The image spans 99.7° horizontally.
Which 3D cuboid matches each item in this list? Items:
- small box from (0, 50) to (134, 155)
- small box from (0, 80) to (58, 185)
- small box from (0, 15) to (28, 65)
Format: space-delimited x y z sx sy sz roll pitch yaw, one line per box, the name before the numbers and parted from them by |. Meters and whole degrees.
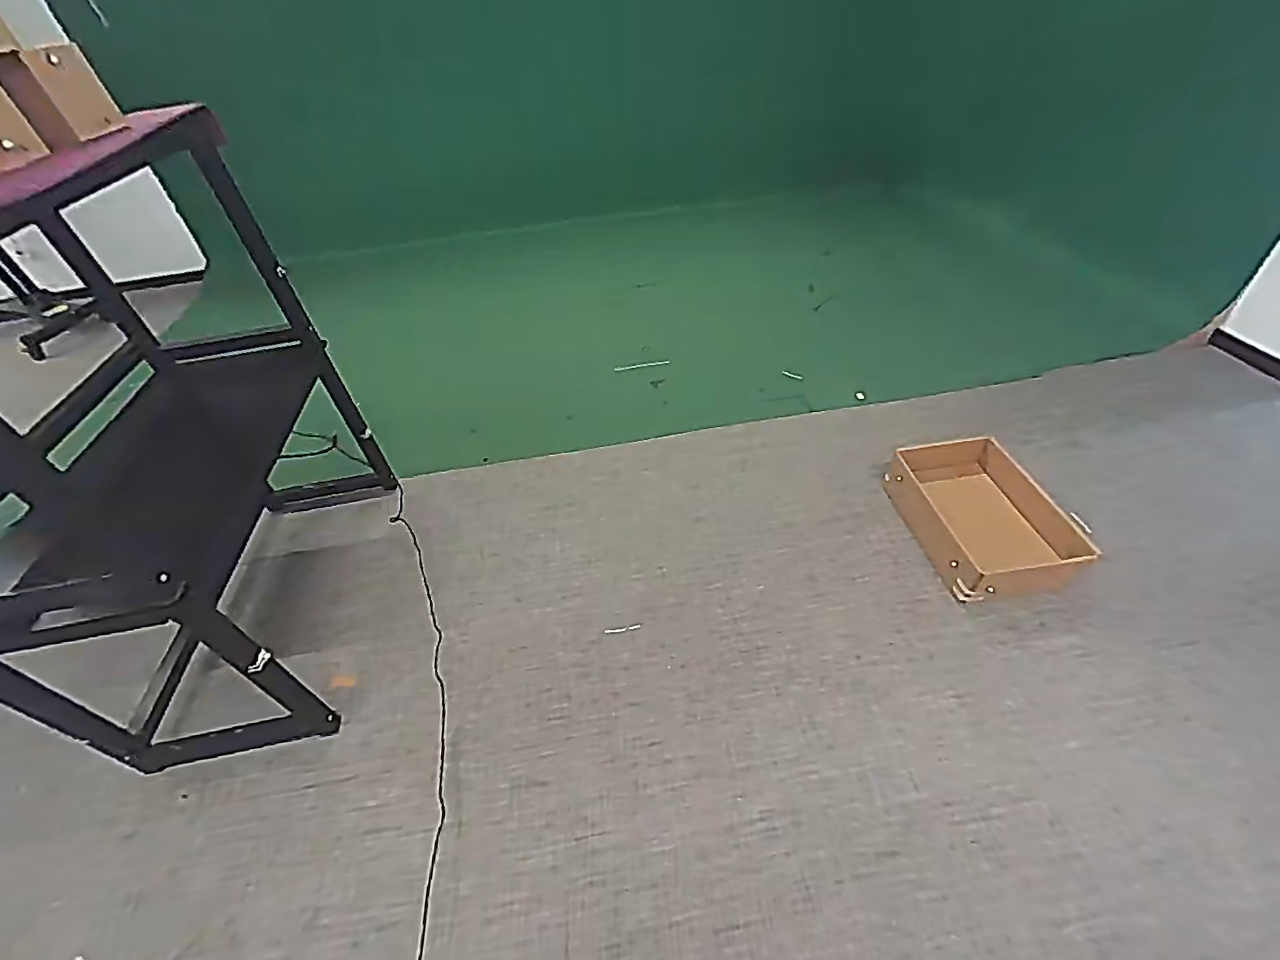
small box | -1.349 -0.862 1.243 0.179 0.176 0.168 -6 45 4
small box | -1.308 -0.662 1.030 0.179 0.176 0.168 -9 44 -1
small box | -1.351 -0.874 1.017 0.179 0.176 0.168 -9 44 0
